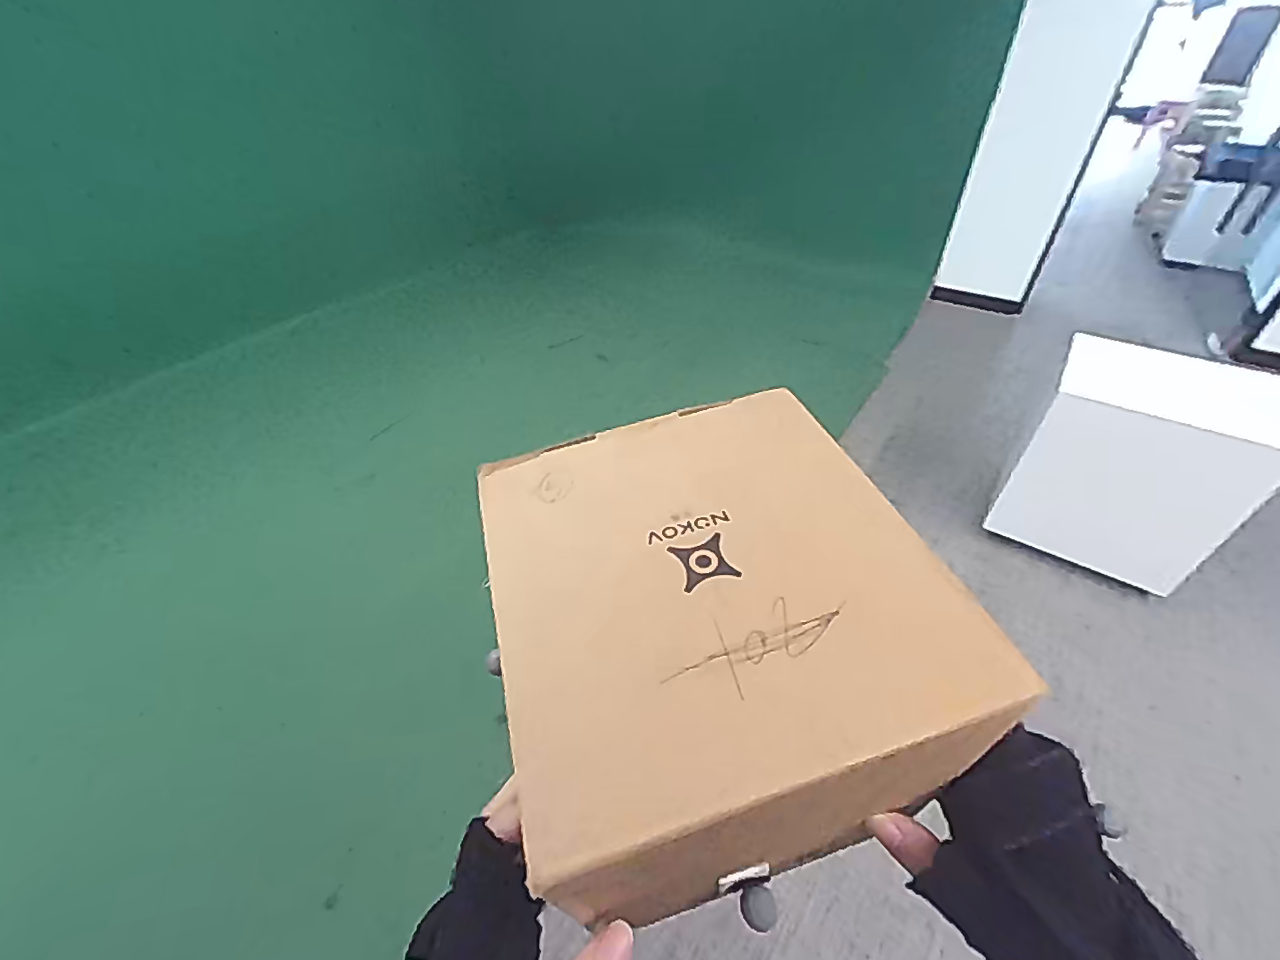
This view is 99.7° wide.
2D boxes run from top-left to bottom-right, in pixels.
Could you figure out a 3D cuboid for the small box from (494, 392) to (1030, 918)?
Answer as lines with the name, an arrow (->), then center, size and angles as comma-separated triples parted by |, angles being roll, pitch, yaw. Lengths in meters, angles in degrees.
small box -> 0.033, 0.086, 0.278 | 0.168, 0.176, 0.179 | -16, 47, -7
